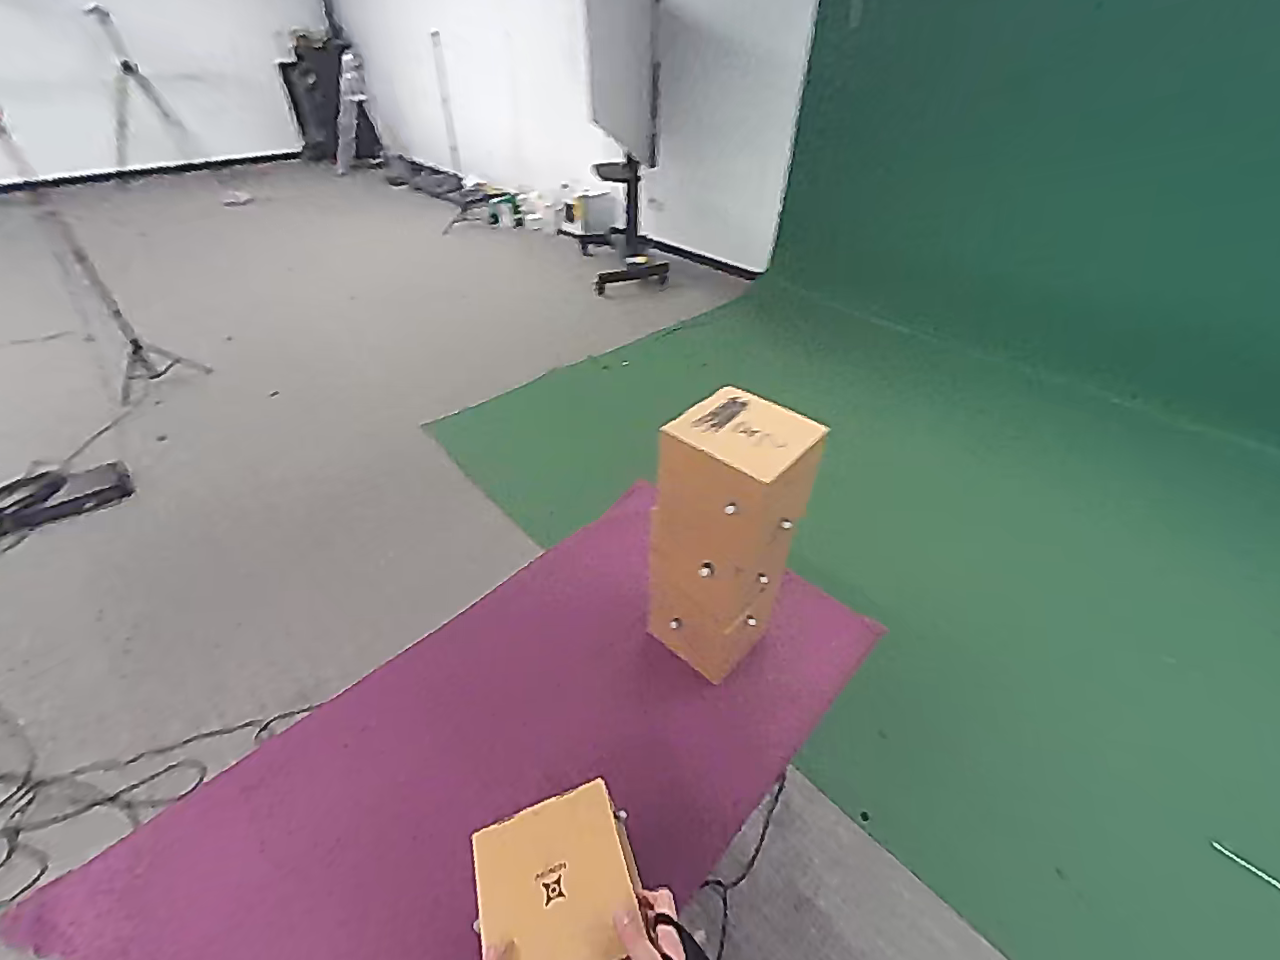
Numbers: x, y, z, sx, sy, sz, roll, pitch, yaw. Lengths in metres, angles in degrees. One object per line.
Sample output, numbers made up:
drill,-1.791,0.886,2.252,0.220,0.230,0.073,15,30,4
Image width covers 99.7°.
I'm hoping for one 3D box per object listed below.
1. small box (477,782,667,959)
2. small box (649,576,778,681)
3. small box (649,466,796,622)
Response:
small box,-0.076,0.502,0.632,0.168,0.176,0.179,-19,38,-10
small box,0.132,0.239,1.019,0.179,0.176,0.168,31,50,32
small box,0.131,0.112,0.913,0.179,0.176,0.168,33,49,33
